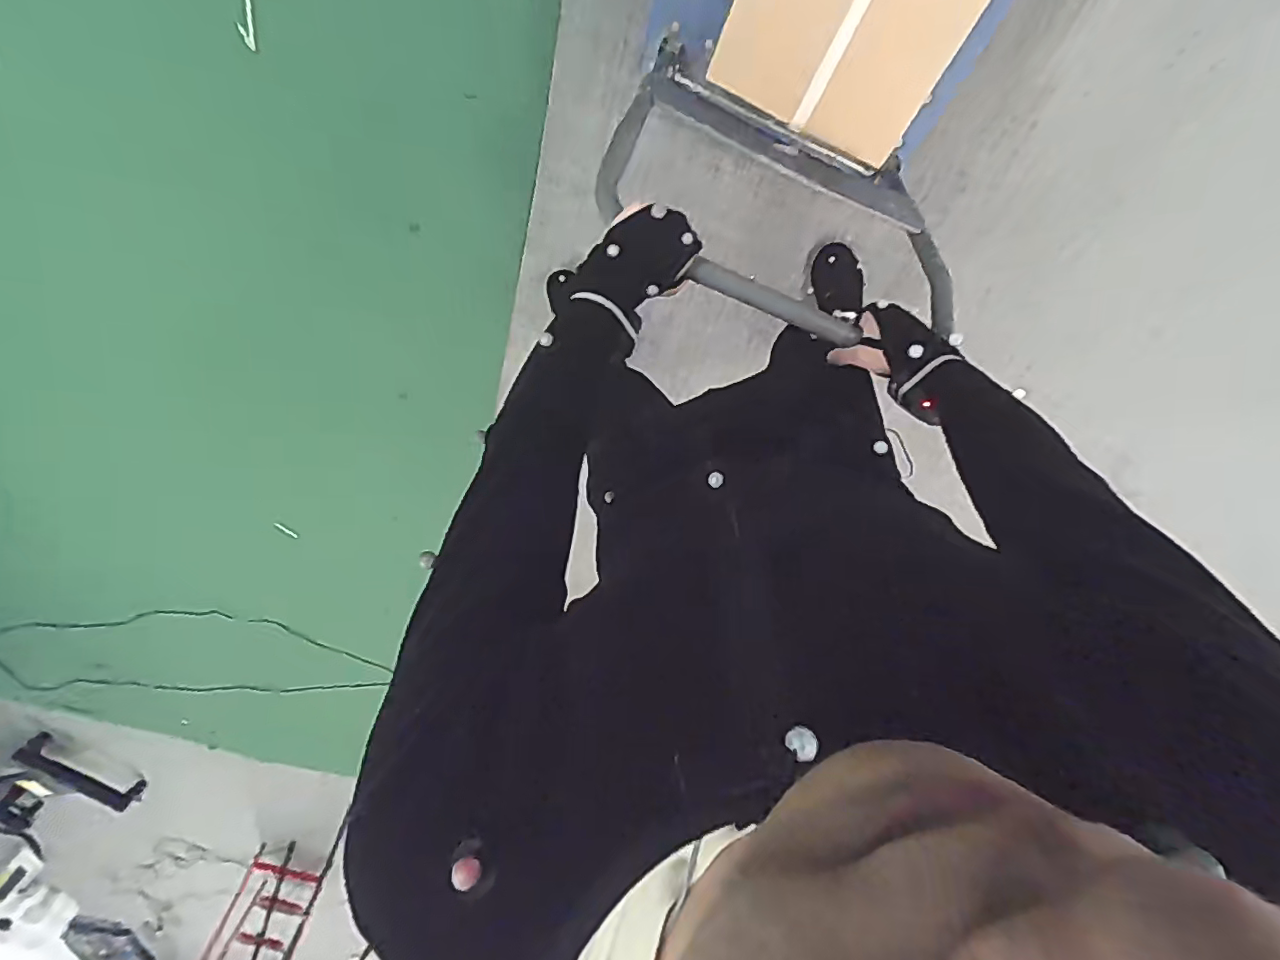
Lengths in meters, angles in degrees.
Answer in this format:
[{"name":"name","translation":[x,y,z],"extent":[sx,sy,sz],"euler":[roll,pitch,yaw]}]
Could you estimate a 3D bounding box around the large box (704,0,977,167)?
[{"name":"large box","translation":[0.327,-0.784,0.829],"extent":[0.320,0.320,0.408],"euler":[21,133,-10]}]
